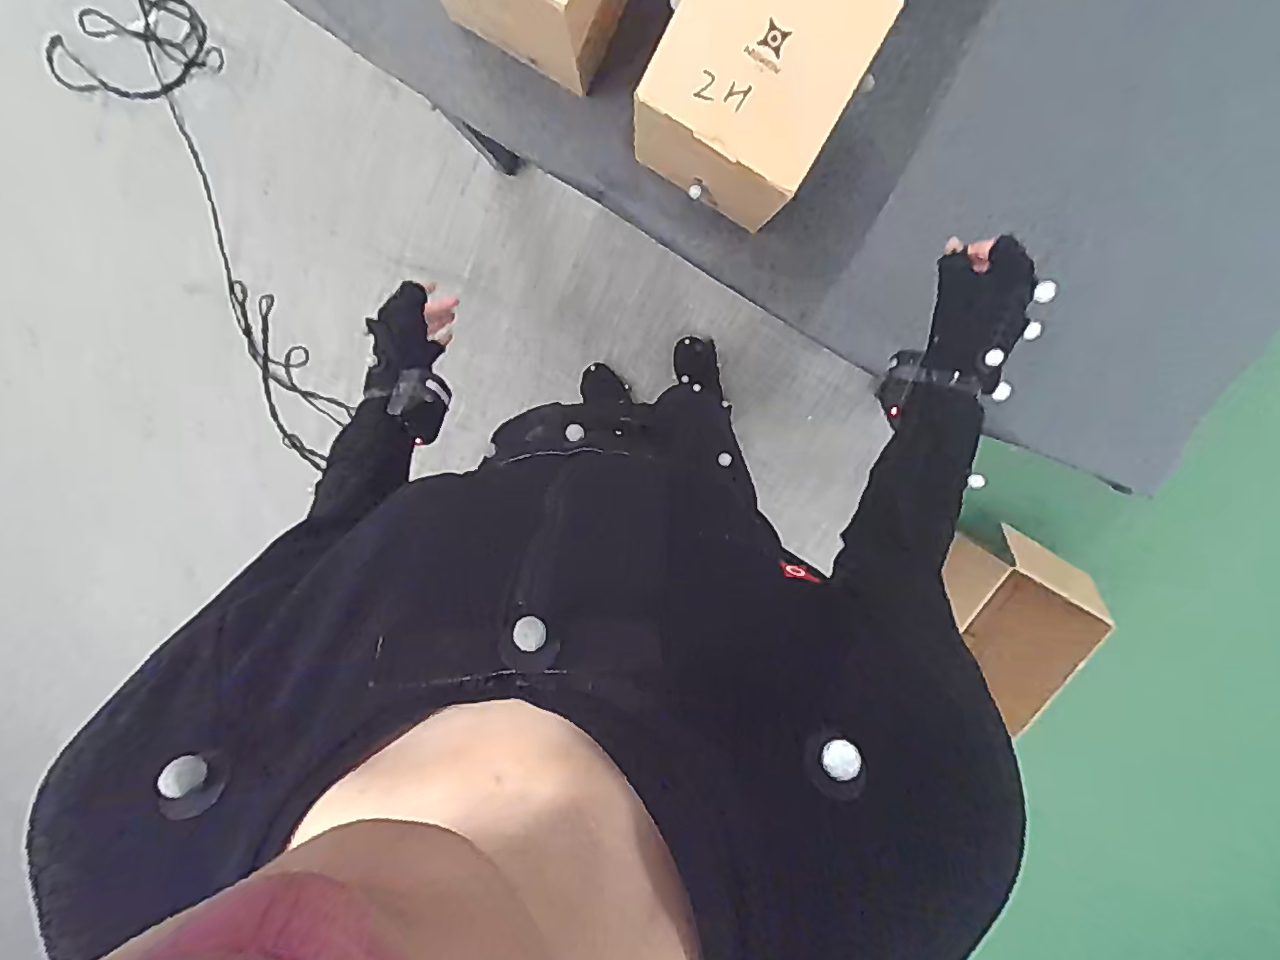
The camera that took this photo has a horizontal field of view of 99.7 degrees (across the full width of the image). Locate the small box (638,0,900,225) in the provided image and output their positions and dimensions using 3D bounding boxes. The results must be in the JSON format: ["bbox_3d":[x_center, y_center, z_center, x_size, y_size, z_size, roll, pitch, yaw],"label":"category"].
[{"bbox_3d":[0.106,-0.388,0.537,0.168,0.176,0.179,29,103,-7],"label":"small box"}]
